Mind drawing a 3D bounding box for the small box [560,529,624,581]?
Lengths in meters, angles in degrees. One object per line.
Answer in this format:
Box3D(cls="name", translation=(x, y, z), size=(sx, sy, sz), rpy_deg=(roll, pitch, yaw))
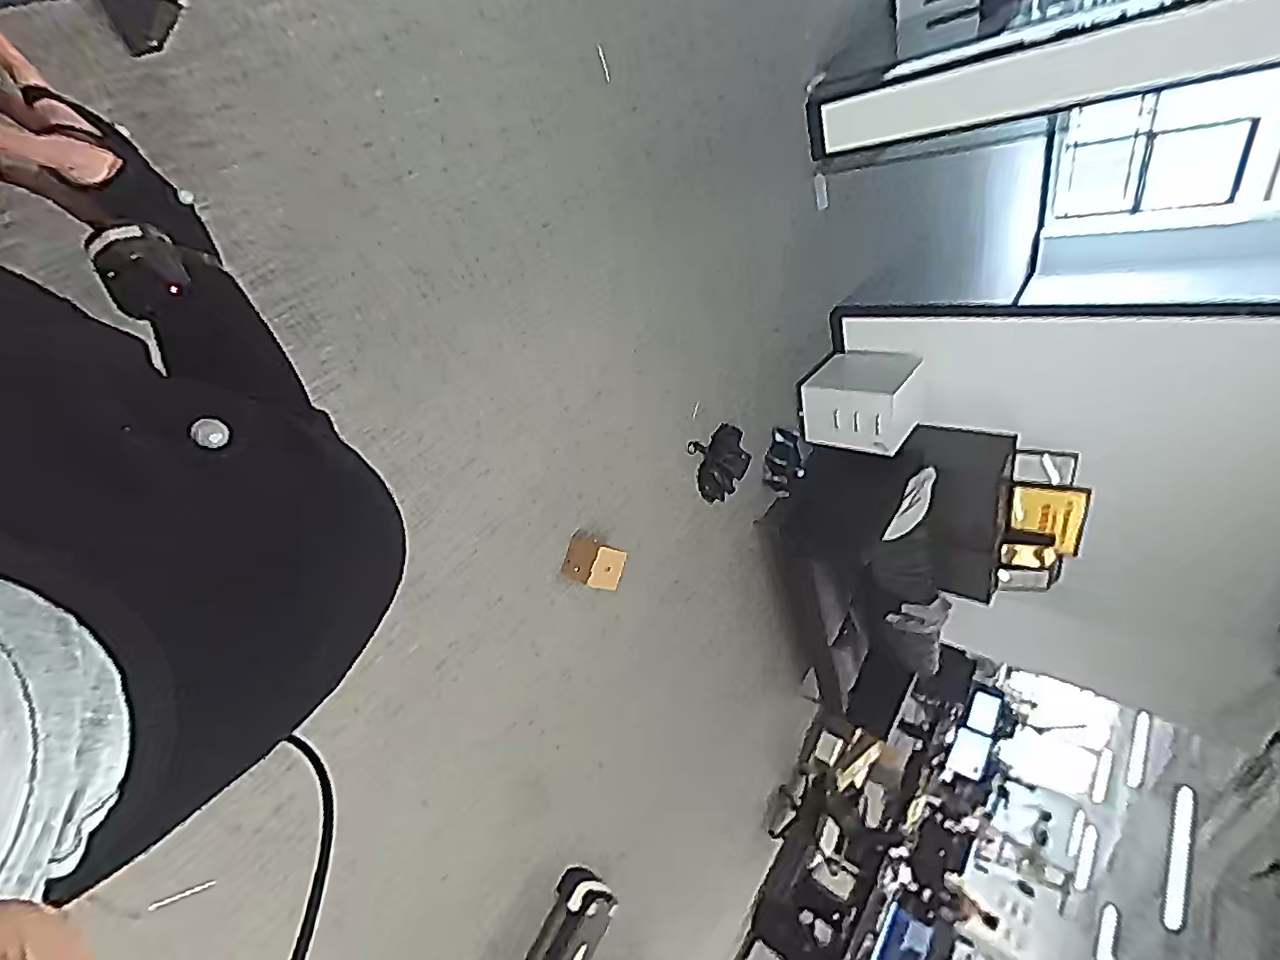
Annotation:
Box3D(cls="small box", translation=(-0.200, 0.308, 2.233), size=(0.179, 0.176, 0.168), rpy_deg=(20, 87, -52))
